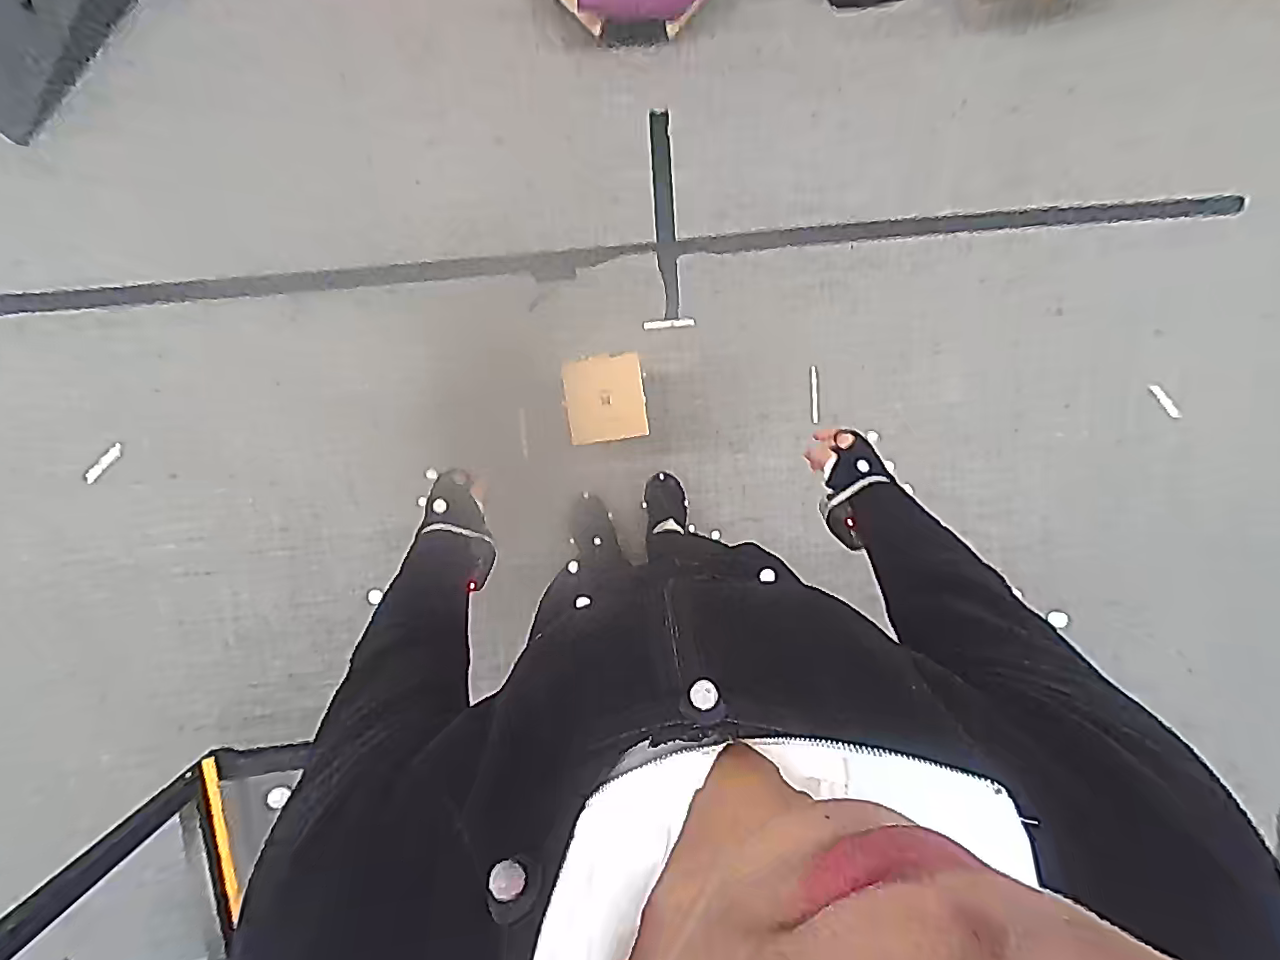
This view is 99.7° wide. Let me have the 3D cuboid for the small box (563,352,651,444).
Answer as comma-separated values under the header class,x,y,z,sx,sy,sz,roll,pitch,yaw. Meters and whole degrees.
class,x,y,z,sx,sy,sz,roll,pitch,yaw
small box,-0.072,-0.181,1.215,0.168,0.176,0.179,-9,98,0
